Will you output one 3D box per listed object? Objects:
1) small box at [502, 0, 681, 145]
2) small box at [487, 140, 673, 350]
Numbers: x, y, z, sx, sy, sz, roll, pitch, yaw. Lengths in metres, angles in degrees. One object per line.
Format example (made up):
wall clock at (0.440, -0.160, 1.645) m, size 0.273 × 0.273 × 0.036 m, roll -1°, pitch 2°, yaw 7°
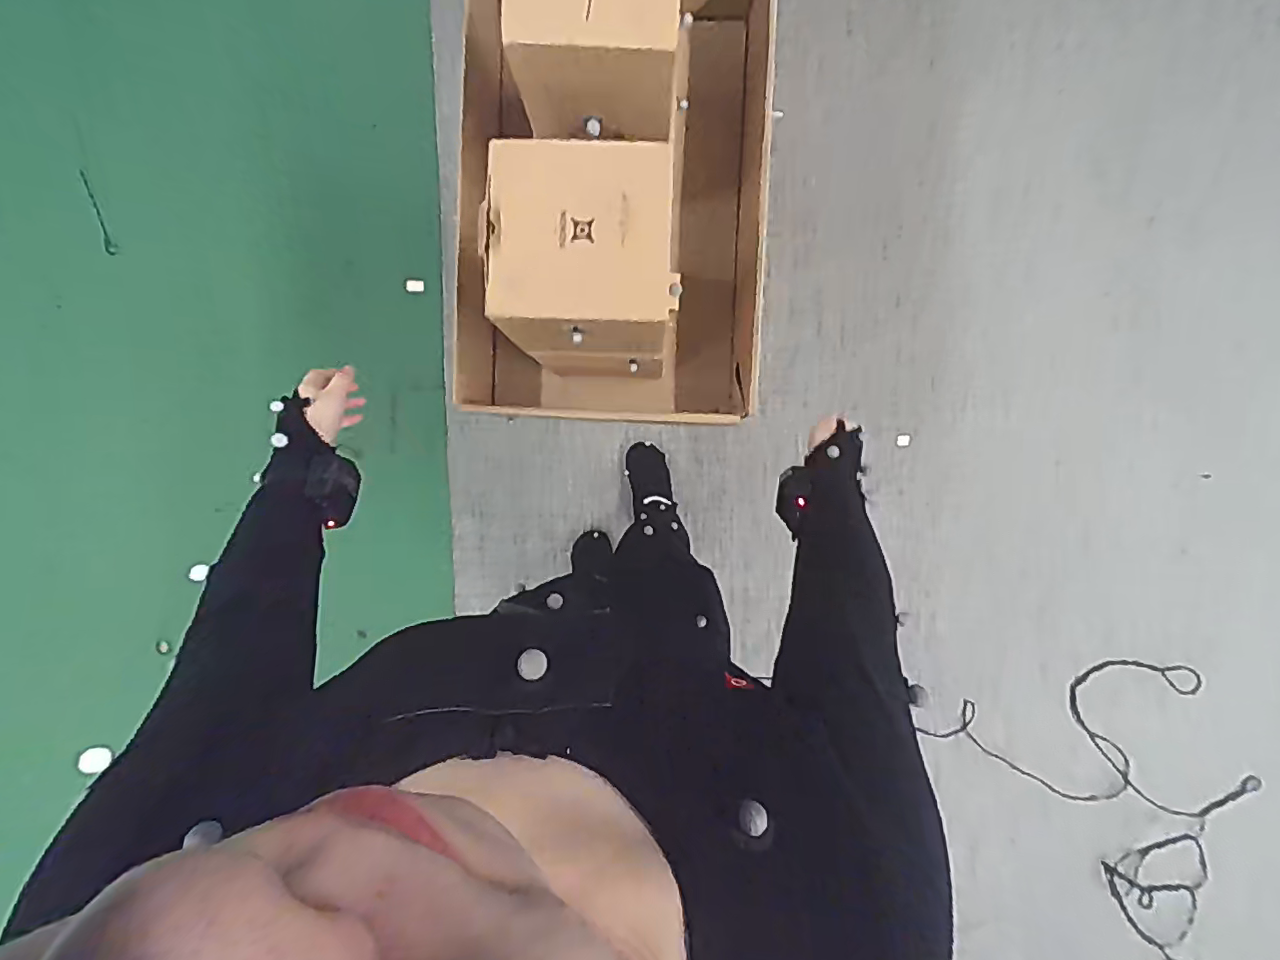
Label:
small box at (-0.042, -0.495, 0.575) m, size 0.168 × 0.176 × 0.179 m, roll 4°, pitch 96°, yaw 0°
small box at (-0.057, -0.241, 0.594) m, size 0.179 × 0.176 × 0.168 m, roll 1°, pitch 94°, yaw 0°
